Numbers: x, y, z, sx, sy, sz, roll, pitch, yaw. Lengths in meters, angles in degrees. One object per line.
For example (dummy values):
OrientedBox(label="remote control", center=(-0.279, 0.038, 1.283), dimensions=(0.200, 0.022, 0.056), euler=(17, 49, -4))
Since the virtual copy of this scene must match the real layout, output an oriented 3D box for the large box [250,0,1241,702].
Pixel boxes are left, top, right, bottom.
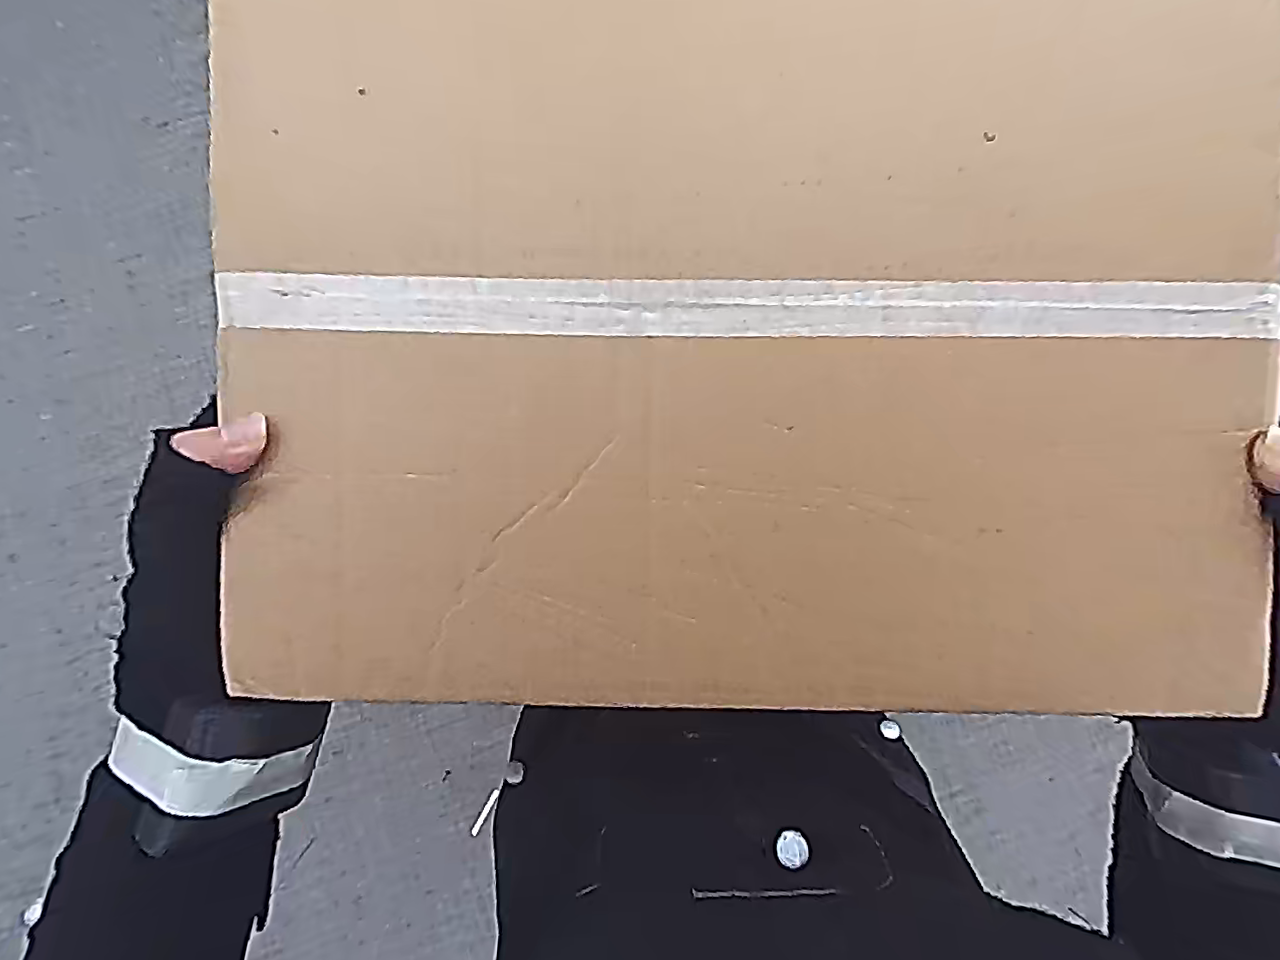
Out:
OrientedBox(label="large box", center=(0.043, -0.066, 0.371), dimensions=(0.408, 0.320, 0.320), euler=(0, 91, 0))
